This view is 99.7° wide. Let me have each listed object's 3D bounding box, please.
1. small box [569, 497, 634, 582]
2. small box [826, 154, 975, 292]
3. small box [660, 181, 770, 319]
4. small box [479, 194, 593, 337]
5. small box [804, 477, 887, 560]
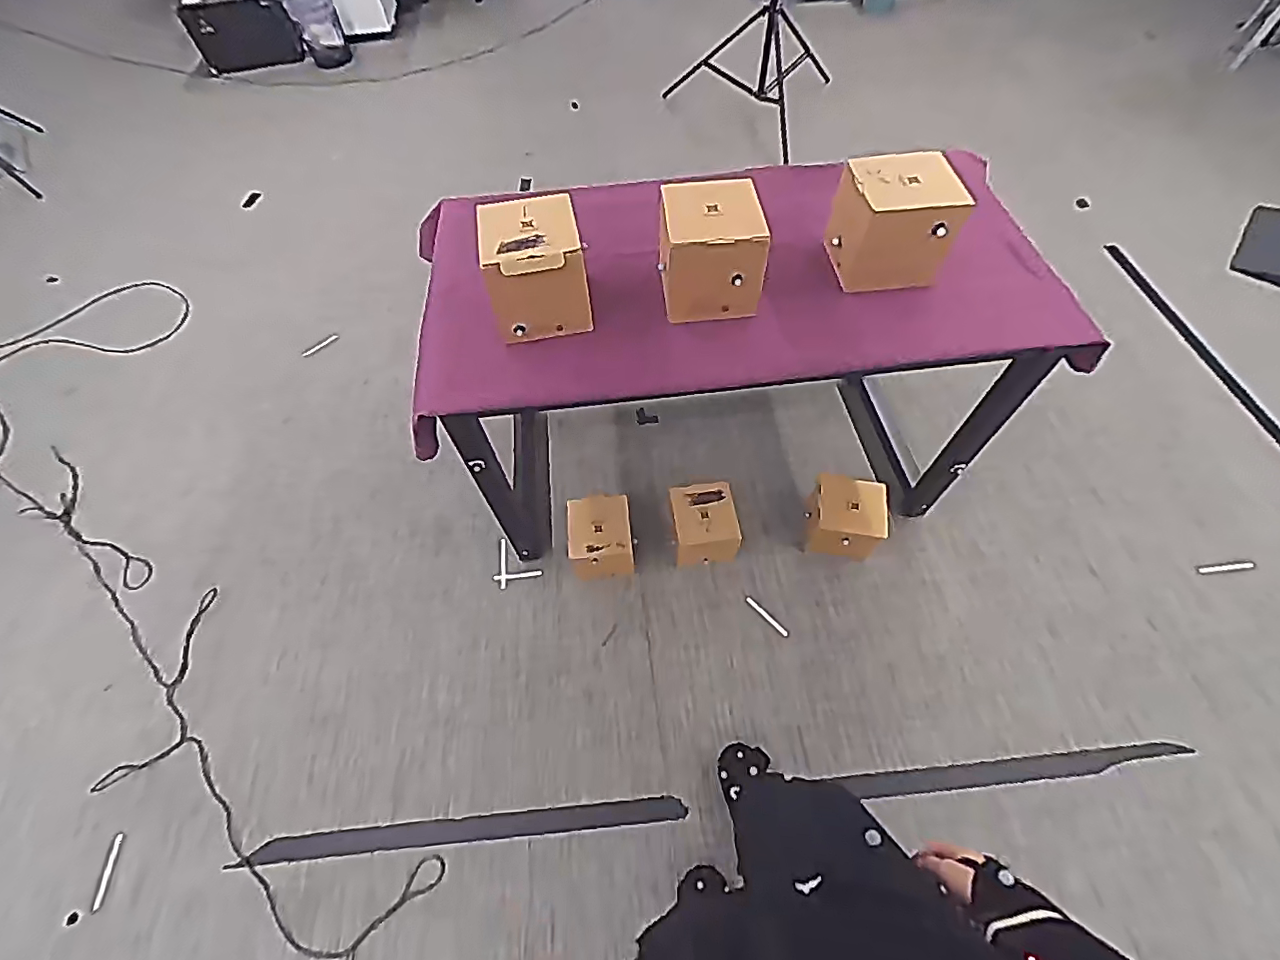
[{"bbox_3d":[-0.104,0.166,1.497,0.168,0.176,0.179,-4,58,0],"label":"small box"},{"bbox_3d":[0.469,-0.472,1.004,0.179,0.176,0.168,-5,58,0],"label":"small box"},{"bbox_3d":[0.127,-0.410,0.982,0.168,0.176,0.179,-5,57,-2],"label":"small box"},{"bbox_3d":[-0.182,-0.375,0.970,0.168,0.176,0.179,-10,57,-4],"label":"small box"},{"bbox_3d":[0.568,0.112,1.504,0.179,0.176,0.168,8,61,8],"label":"small box"}]
